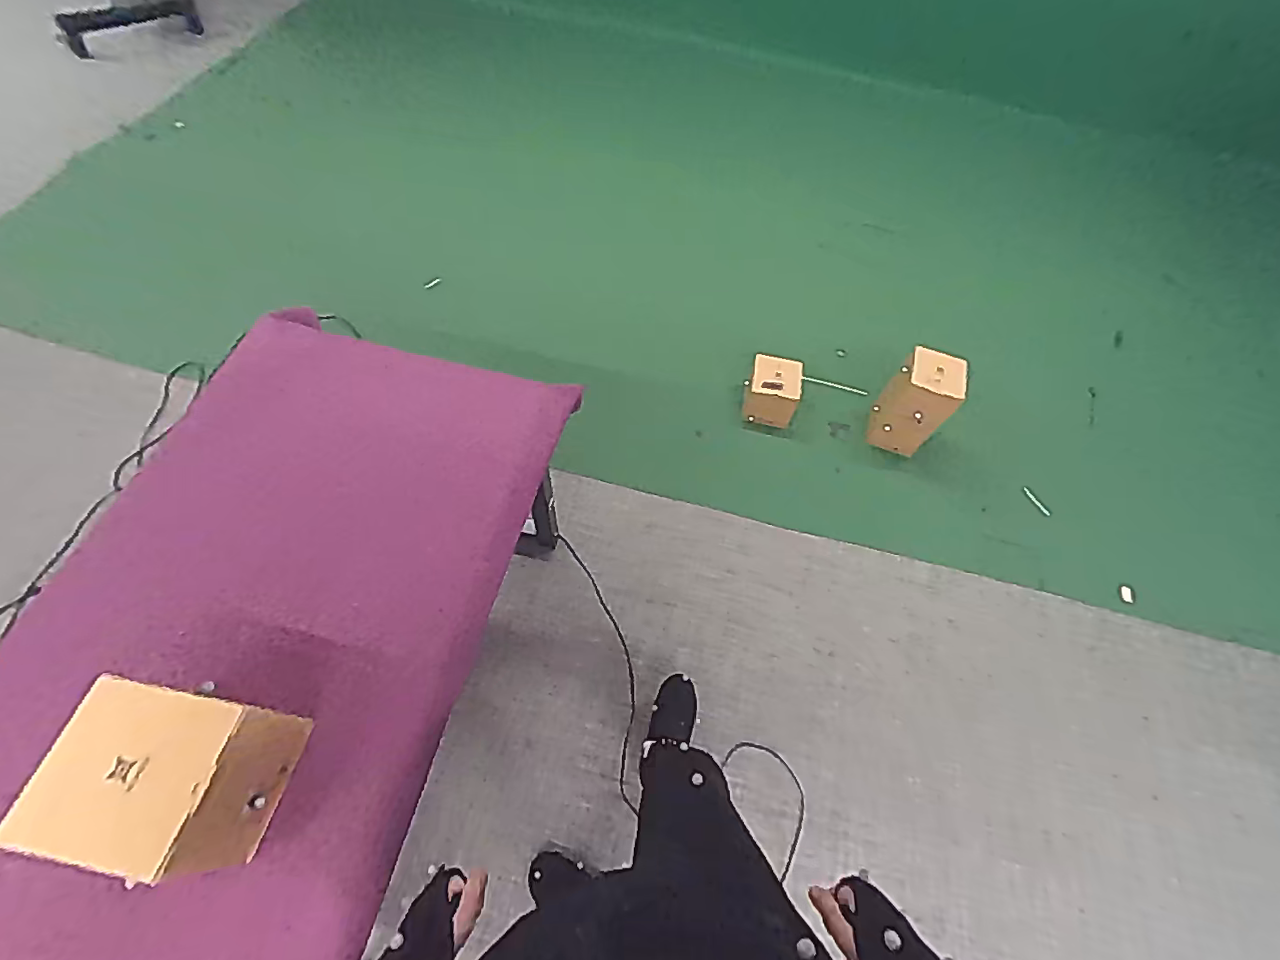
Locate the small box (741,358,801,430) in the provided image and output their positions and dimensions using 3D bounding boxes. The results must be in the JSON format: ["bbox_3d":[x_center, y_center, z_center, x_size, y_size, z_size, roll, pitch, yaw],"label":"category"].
[{"bbox_3d":[0.463,-0.303,1.927,0.168,0.176,0.179,12,60,2],"label":"small box"}]

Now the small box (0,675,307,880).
[{"bbox_3d":[-0.547,0.347,0.639,0.179,0.176,0.168,12,60,1],"label":"small box"}]

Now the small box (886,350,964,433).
[{"bbox_3d":[0.928,-0.286,1.768,0.168,0.176,0.179,20,61,6],"label":"small box"}]
